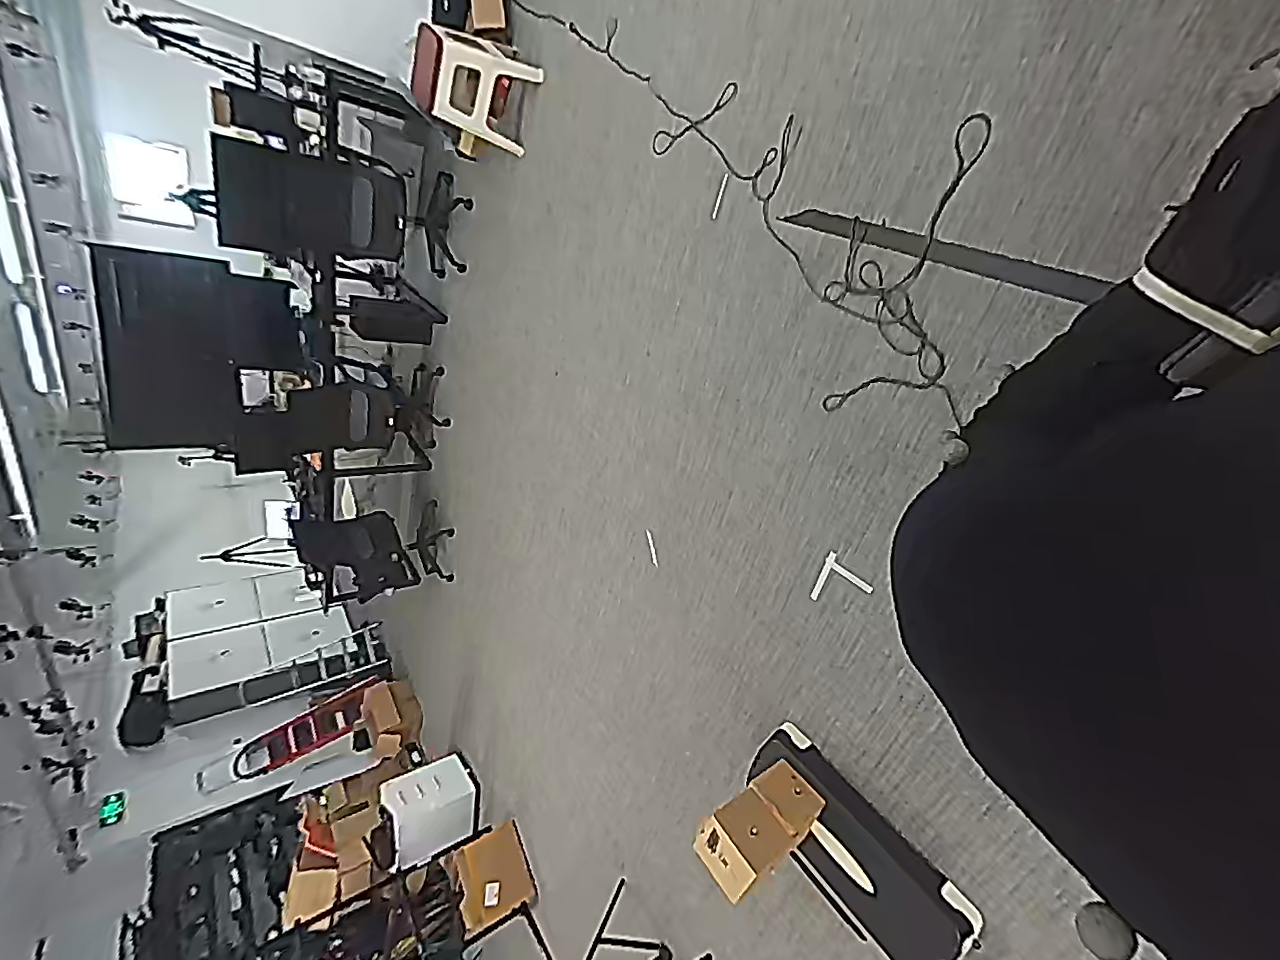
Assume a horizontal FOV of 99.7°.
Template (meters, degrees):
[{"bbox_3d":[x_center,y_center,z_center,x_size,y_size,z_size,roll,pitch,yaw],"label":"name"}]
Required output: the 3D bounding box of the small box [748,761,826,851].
[{"bbox_3d":[0.426,0.991,1.618,0.168,0.176,0.179,37,122,41],"label":"small box"}]

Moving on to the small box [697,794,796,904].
[{"bbox_3d":[0.299,1.022,1.518,0.179,0.176,0.168,43,126,37],"label":"small box"}]
